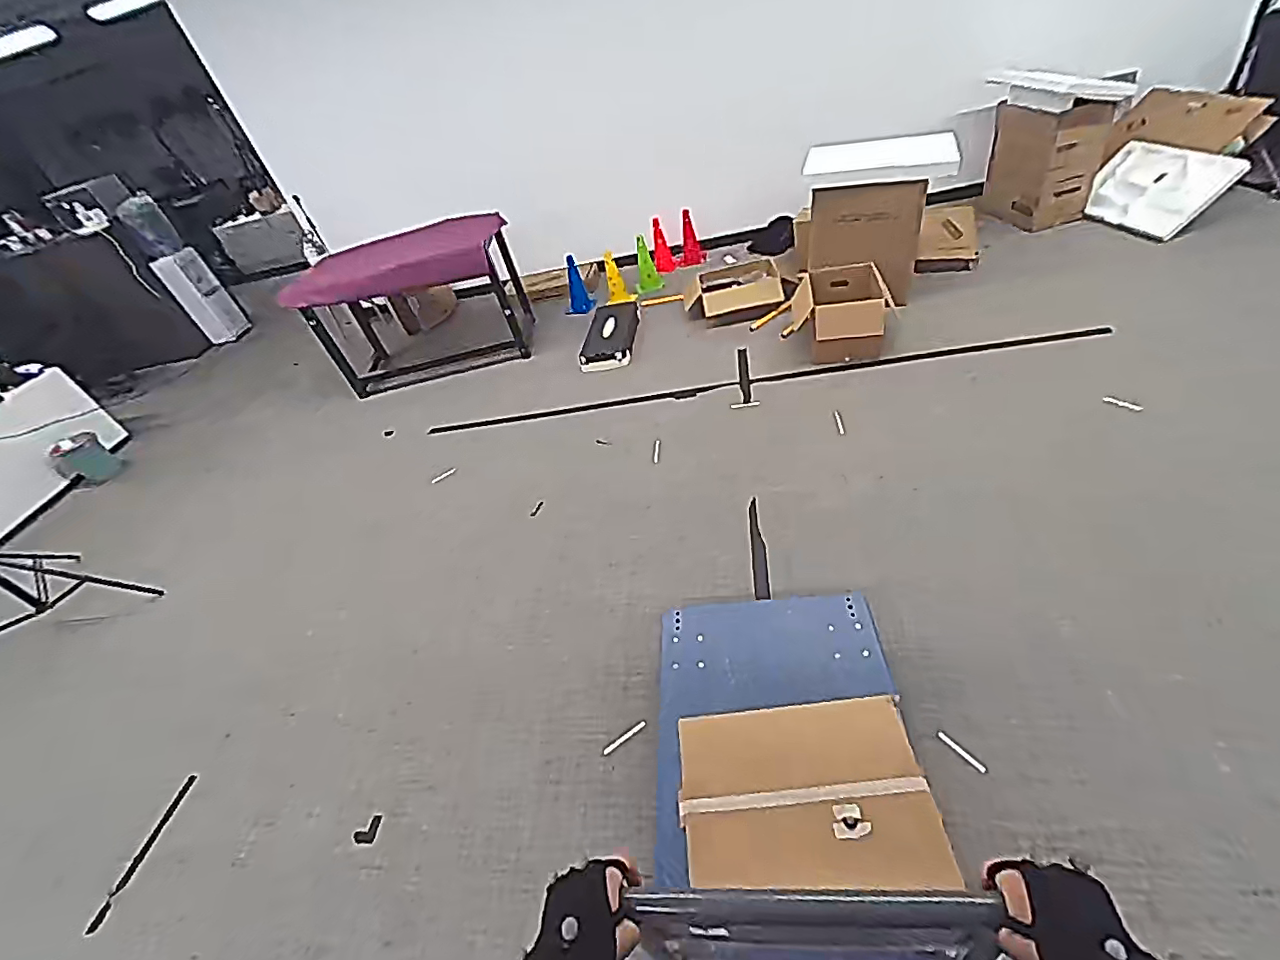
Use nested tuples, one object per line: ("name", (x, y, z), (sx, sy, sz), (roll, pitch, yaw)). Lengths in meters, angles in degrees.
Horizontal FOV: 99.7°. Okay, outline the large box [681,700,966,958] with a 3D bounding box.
("large box", (0.307, 0.655, 1.014), (0.408, 0.320, 0.320), (-9, 41, 7))
